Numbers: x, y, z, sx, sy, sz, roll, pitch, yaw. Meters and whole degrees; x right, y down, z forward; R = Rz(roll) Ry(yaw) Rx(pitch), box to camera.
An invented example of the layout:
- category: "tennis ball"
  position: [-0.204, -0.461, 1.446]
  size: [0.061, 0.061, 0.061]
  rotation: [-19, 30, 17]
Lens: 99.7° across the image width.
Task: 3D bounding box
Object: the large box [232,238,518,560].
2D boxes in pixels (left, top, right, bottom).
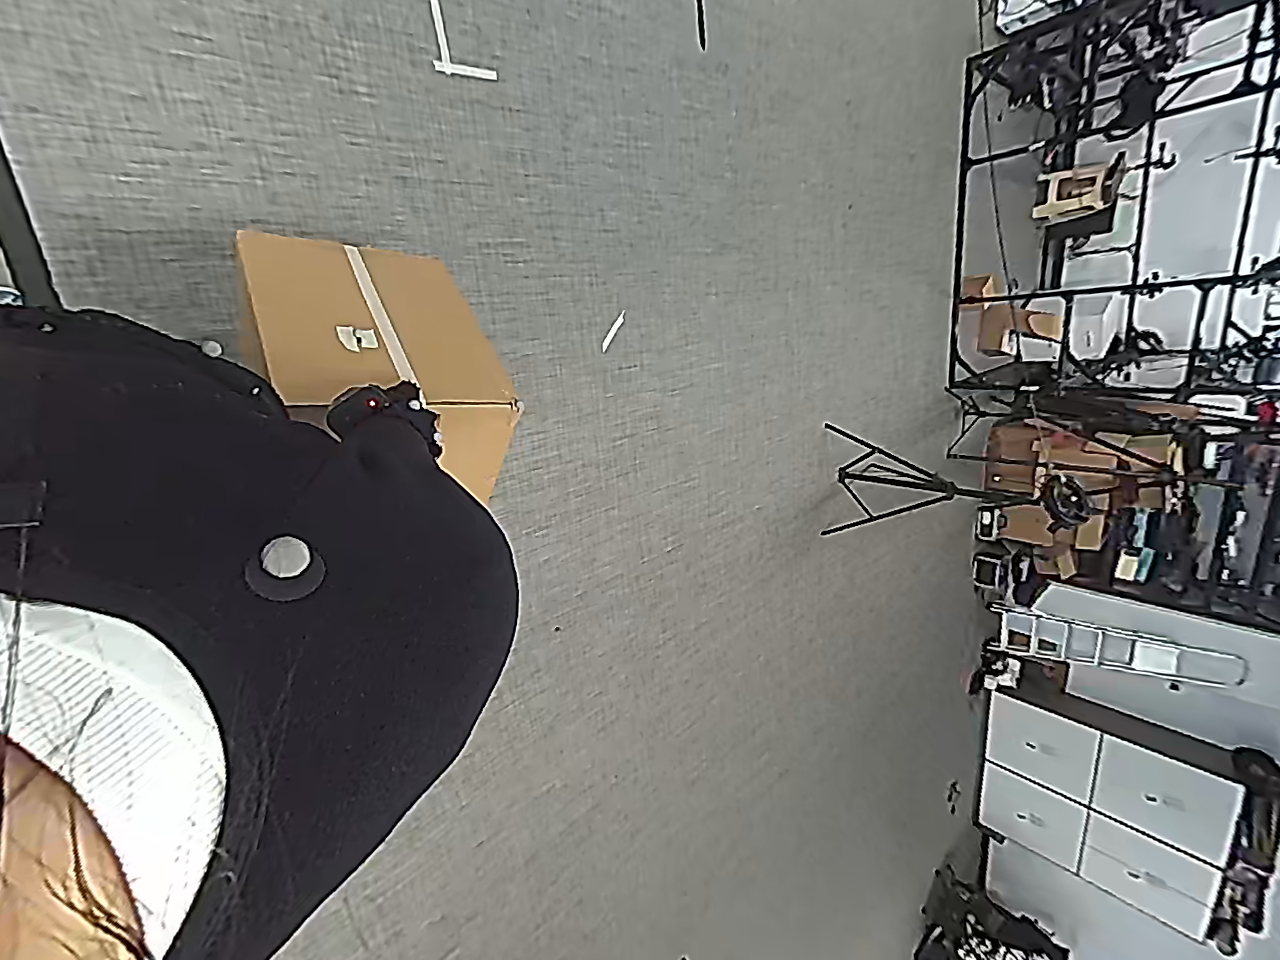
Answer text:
- category: "large box"
  position: [-0.462, -0.135, 0.909]
  size: [0.320, 0.408, 0.320]
  rotation: [-8, 143, -39]
